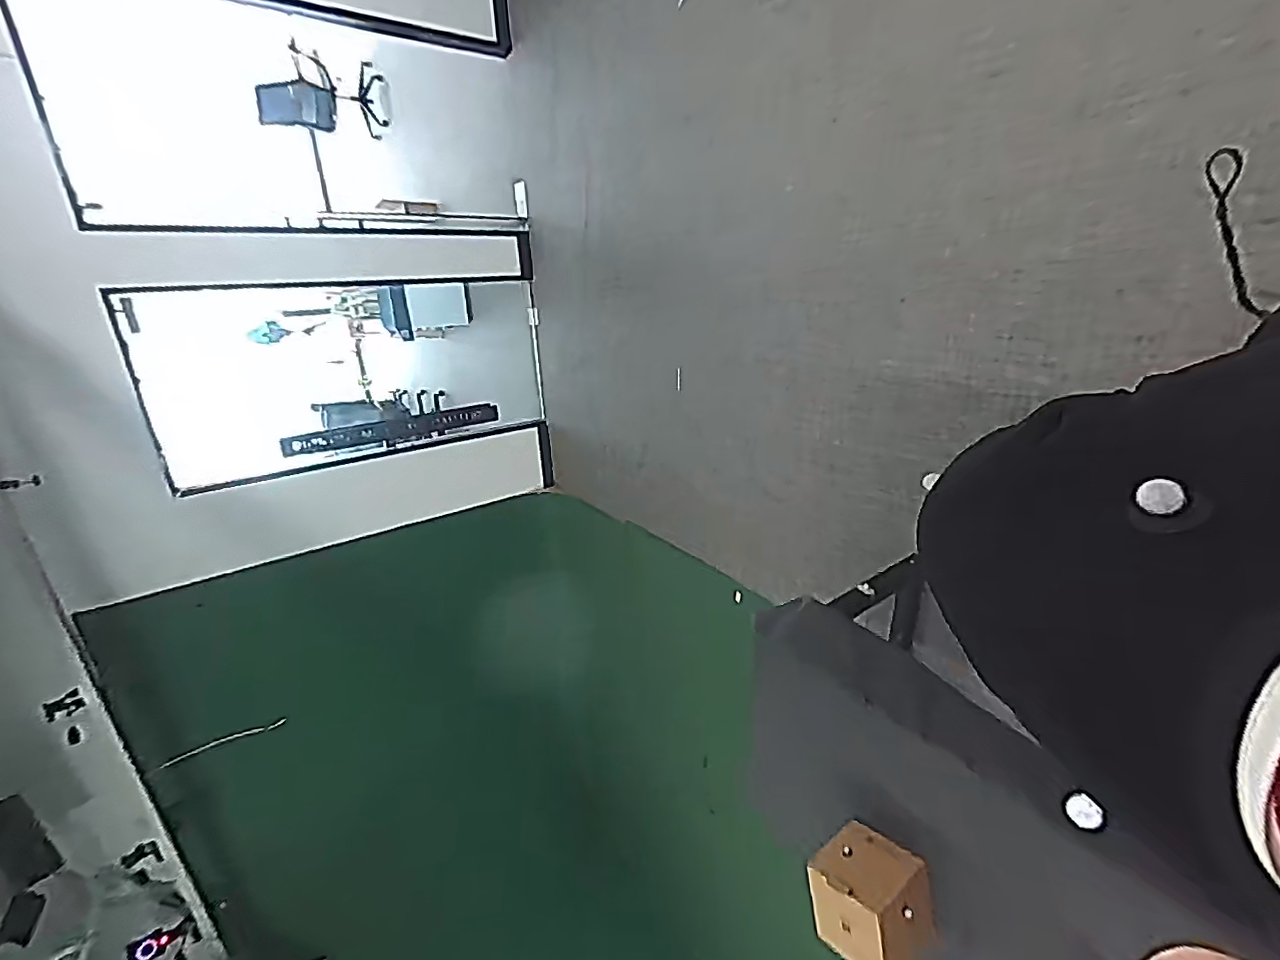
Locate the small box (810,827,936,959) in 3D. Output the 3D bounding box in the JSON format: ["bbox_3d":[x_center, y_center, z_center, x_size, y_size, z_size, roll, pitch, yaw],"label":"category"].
[{"bbox_3d":[0.471,0.856,1.093,0.168,0.176,0.179,5,107,58],"label":"small box"}]
